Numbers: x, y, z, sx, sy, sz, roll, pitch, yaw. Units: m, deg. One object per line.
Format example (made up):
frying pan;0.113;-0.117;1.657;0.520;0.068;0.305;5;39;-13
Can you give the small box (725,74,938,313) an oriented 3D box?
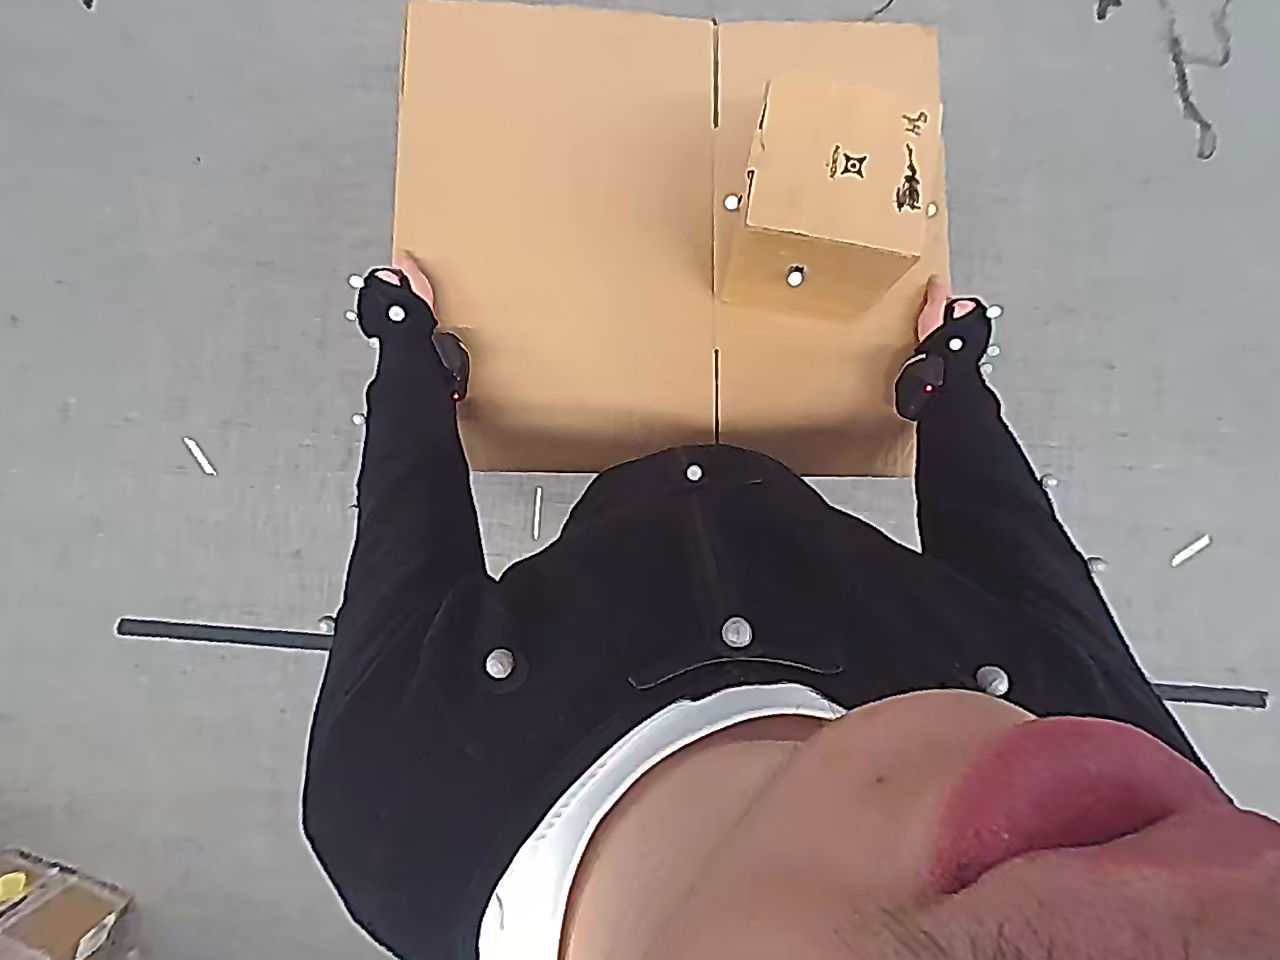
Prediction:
small box;0.200;-0.308;0.613;0.179;0.176;0.168;10;85;2
